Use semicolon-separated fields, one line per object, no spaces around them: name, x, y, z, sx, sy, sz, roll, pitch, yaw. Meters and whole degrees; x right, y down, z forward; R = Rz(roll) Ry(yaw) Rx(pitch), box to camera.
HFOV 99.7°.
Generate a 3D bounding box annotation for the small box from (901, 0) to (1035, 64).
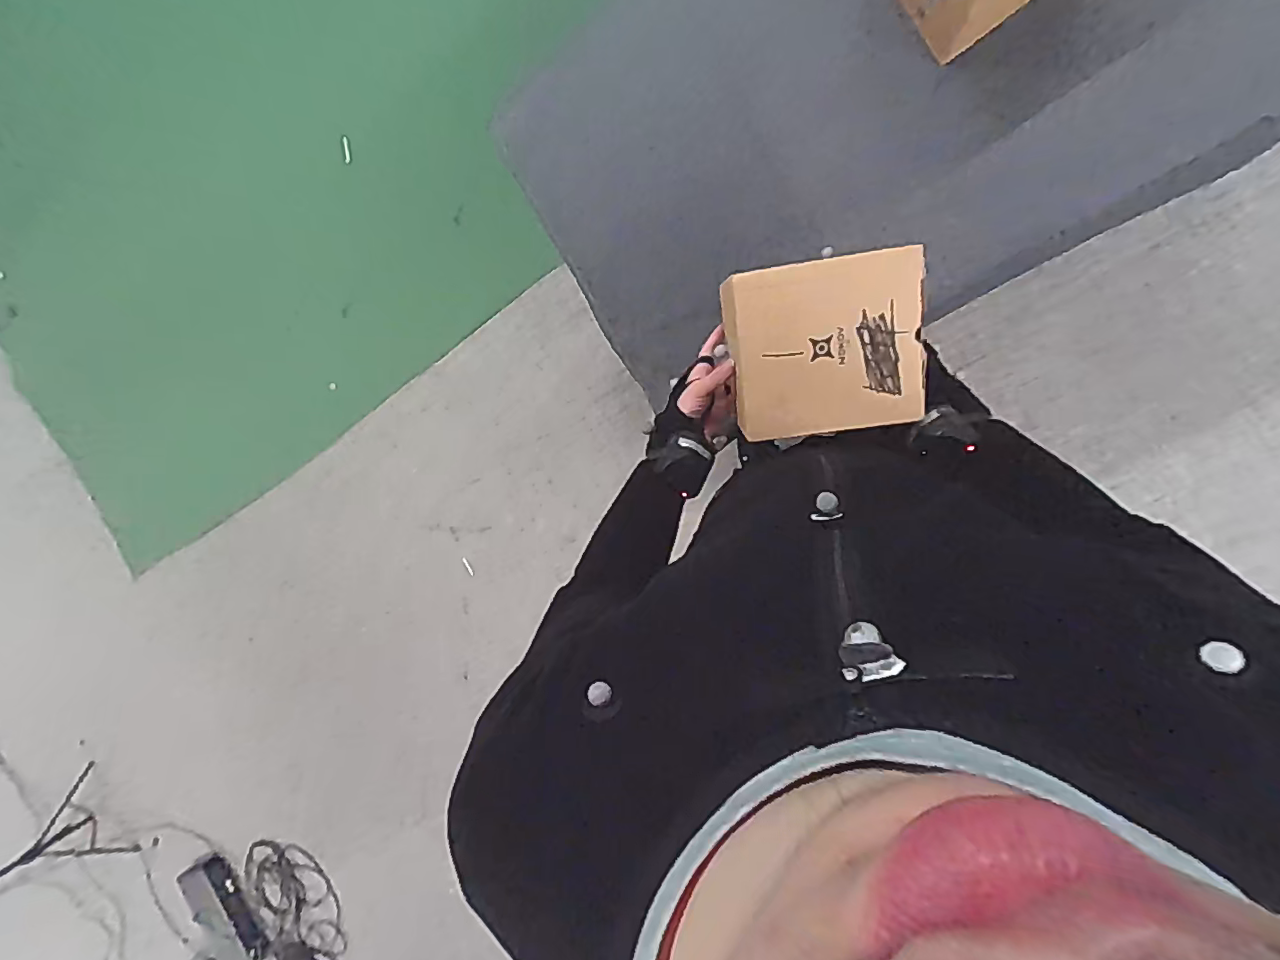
small box;0.386;-0.615;0.584;0.179;0.176;0.168;-33;91;16
